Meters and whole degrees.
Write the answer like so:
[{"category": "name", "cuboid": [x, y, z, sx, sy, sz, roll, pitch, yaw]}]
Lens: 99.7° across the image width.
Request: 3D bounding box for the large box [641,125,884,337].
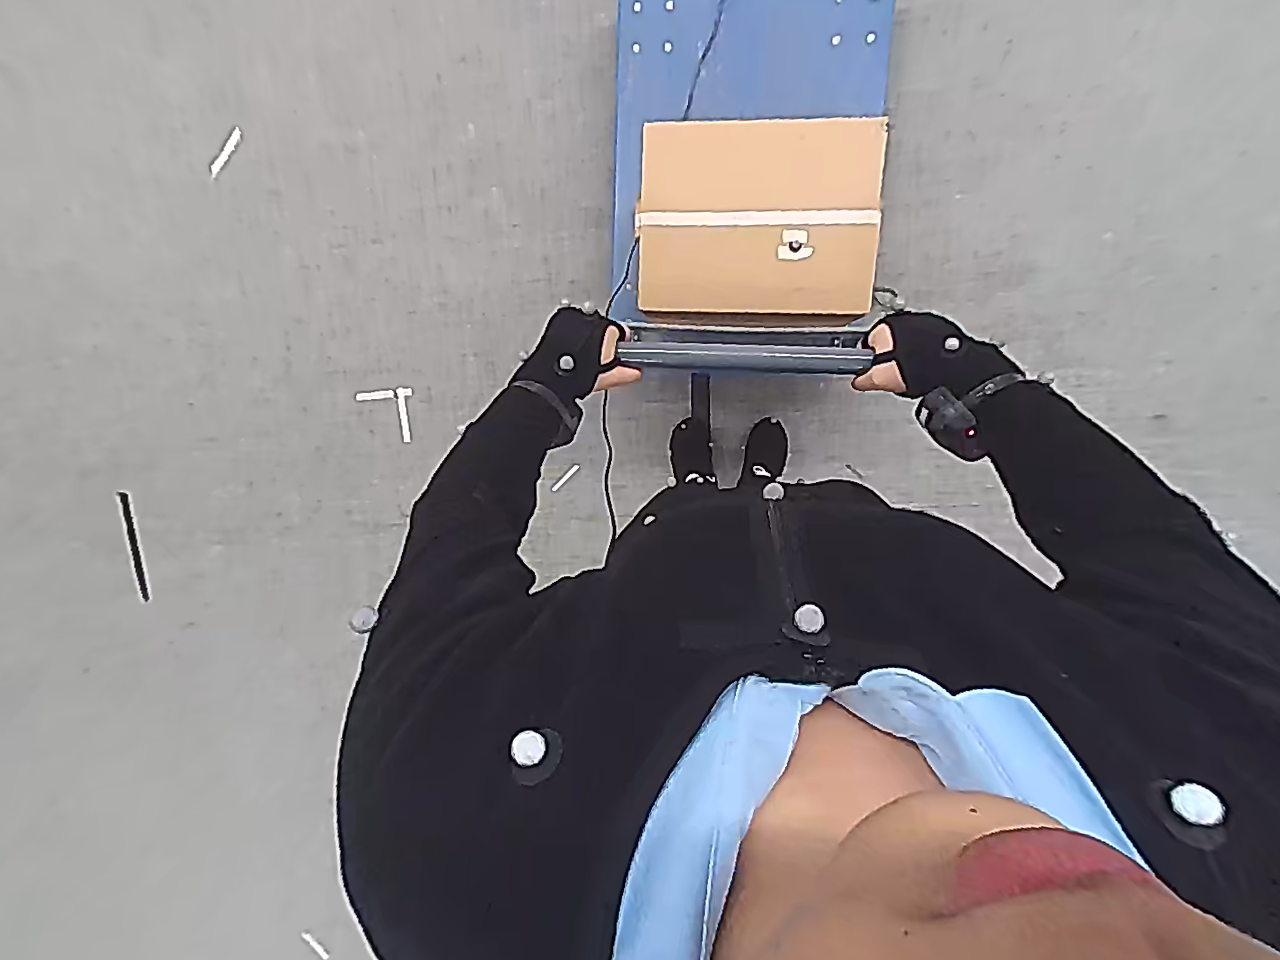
[{"category": "large box", "cuboid": [0.214, -0.460, 1.073, 0.408, 0.320, 0.320, 3, 100, 6]}]
